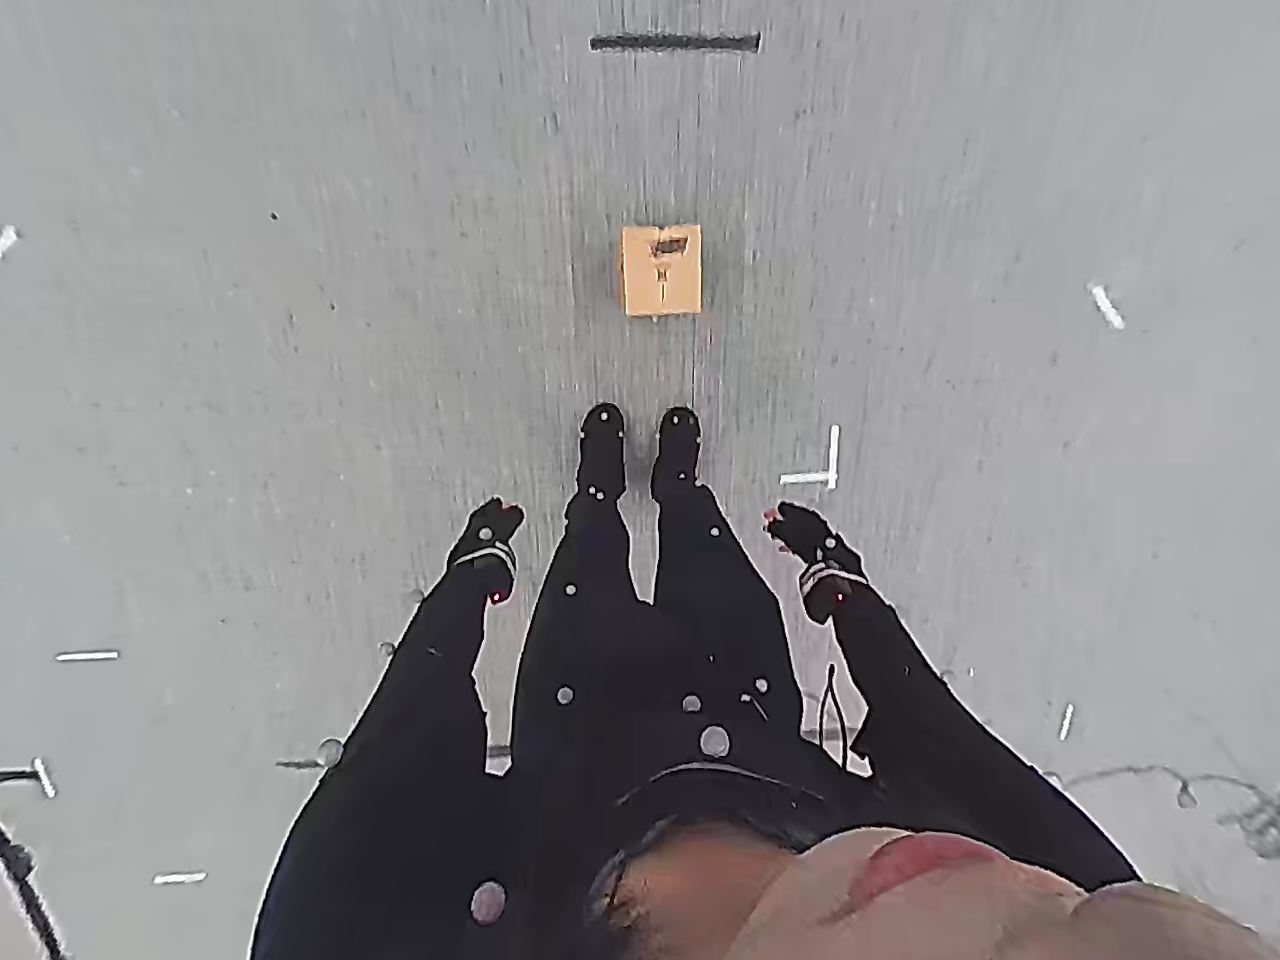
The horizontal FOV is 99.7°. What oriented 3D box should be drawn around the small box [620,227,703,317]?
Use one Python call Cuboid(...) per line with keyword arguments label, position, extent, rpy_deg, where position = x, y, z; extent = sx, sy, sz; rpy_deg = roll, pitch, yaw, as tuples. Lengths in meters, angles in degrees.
Cuboid(label="small box", position=(0.044, -0.458, 1.208), extent=(0.168, 0.176, 0.179), rpy_deg=(-3, 108, -4))
